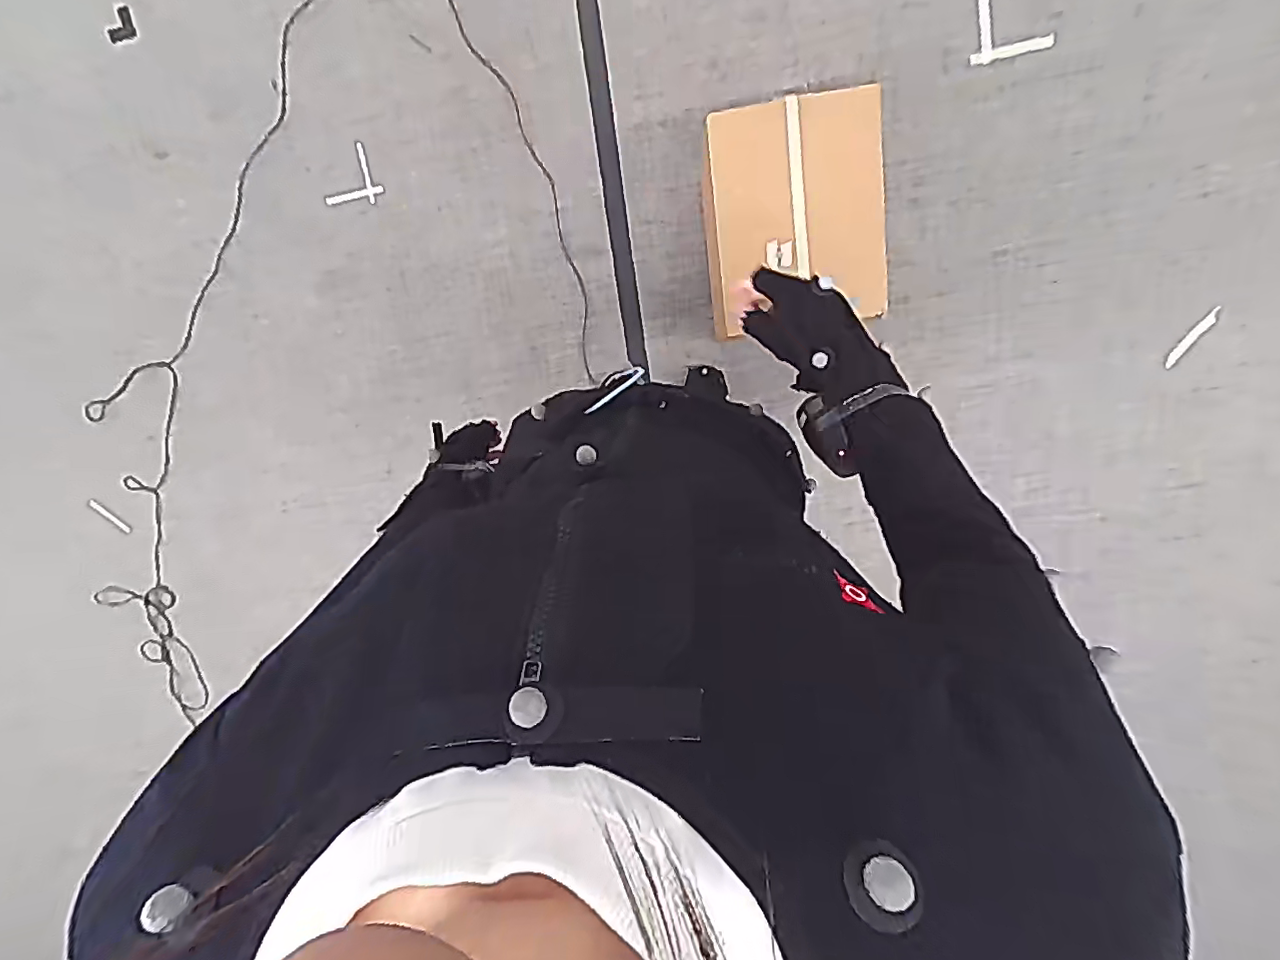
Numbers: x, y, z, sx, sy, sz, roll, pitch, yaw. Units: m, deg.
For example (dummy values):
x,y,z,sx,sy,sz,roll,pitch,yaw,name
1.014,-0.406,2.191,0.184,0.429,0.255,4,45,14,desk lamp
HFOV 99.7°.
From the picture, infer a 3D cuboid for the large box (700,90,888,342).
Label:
x,y,z,sx,sy,sz,roll,pitch,yaw,name
0.314,-0.528,1.172,0.320,0.320,0.408,-7,102,7,large box
